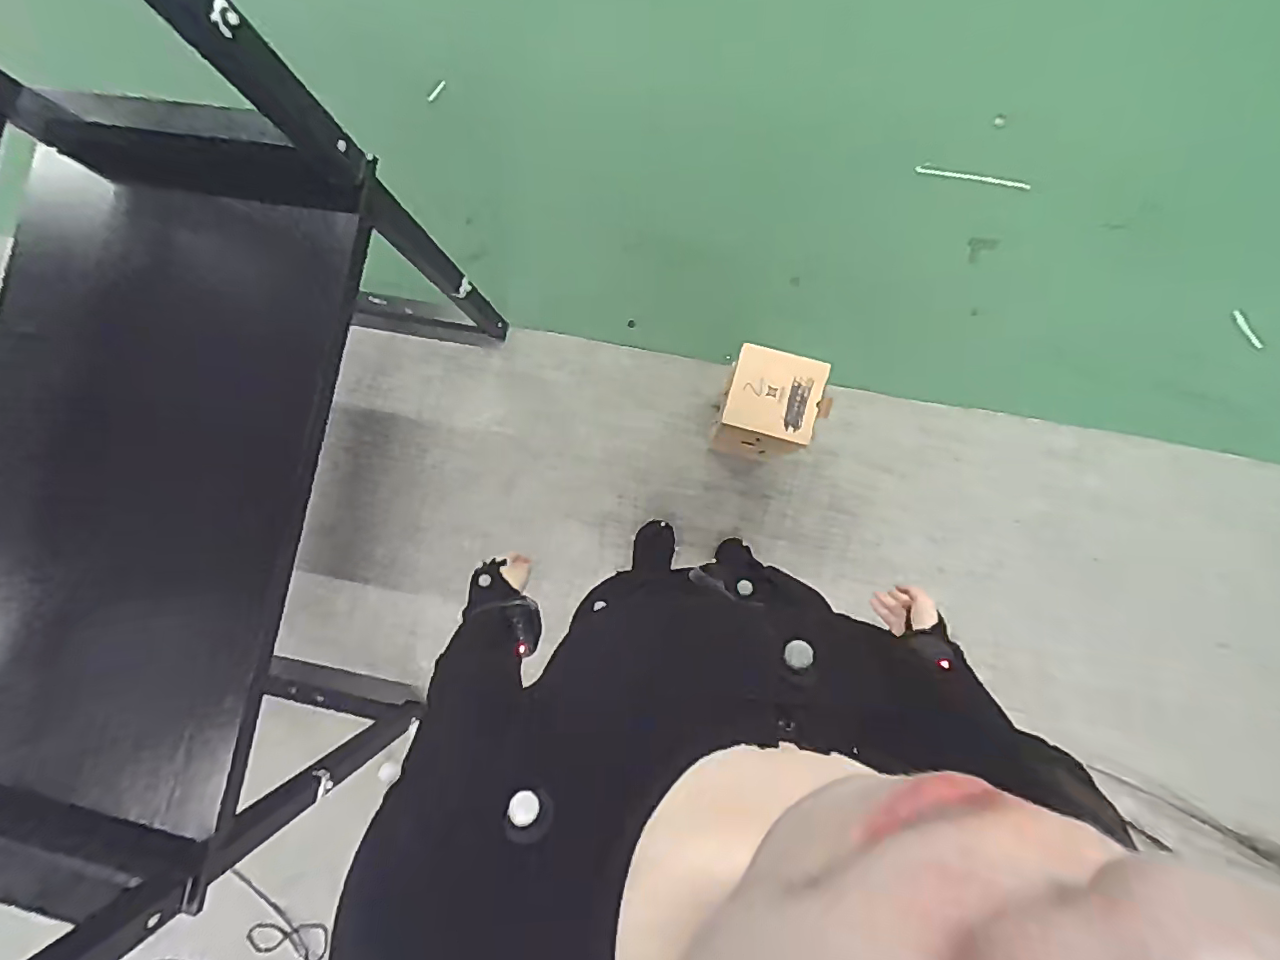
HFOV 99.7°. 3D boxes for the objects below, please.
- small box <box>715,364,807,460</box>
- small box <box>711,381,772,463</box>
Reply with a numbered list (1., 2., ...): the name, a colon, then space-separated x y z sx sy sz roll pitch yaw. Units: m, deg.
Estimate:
1. small box: 0.275 -0.151 1.266 0.168 0.176 0.179 13 87 4
2. small box: 0.291 -0.147 1.427 0.179 0.176 0.168 14 87 4
